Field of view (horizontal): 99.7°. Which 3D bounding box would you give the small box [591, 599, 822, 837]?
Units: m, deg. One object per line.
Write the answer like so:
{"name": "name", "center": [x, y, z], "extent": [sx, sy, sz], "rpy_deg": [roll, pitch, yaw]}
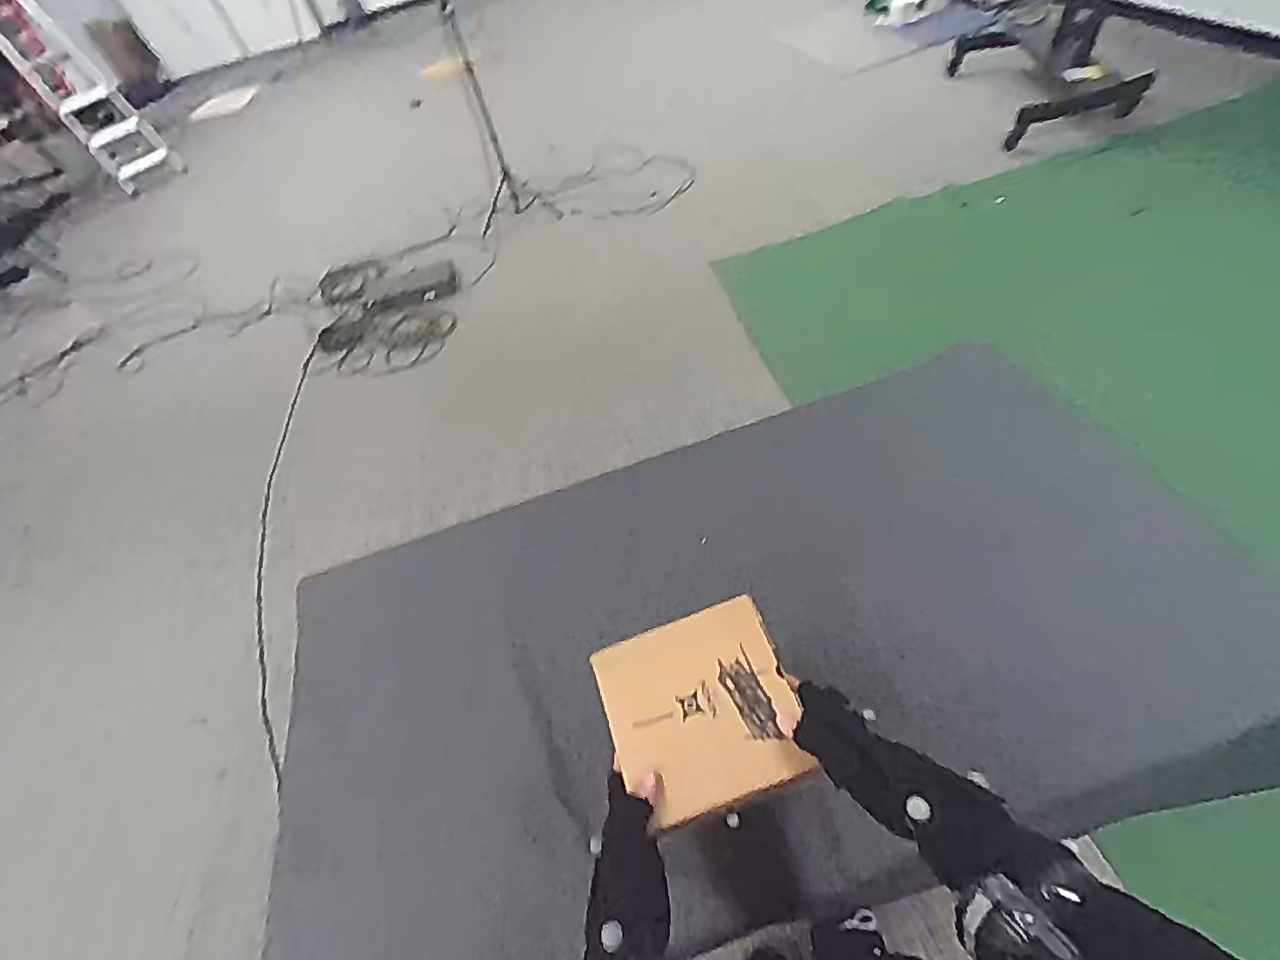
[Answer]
{"name": "small box", "center": [0.067, 0.255, 0.573], "extent": [0.179, 0.176, 0.168], "rpy_deg": [-21, 54, -1]}
